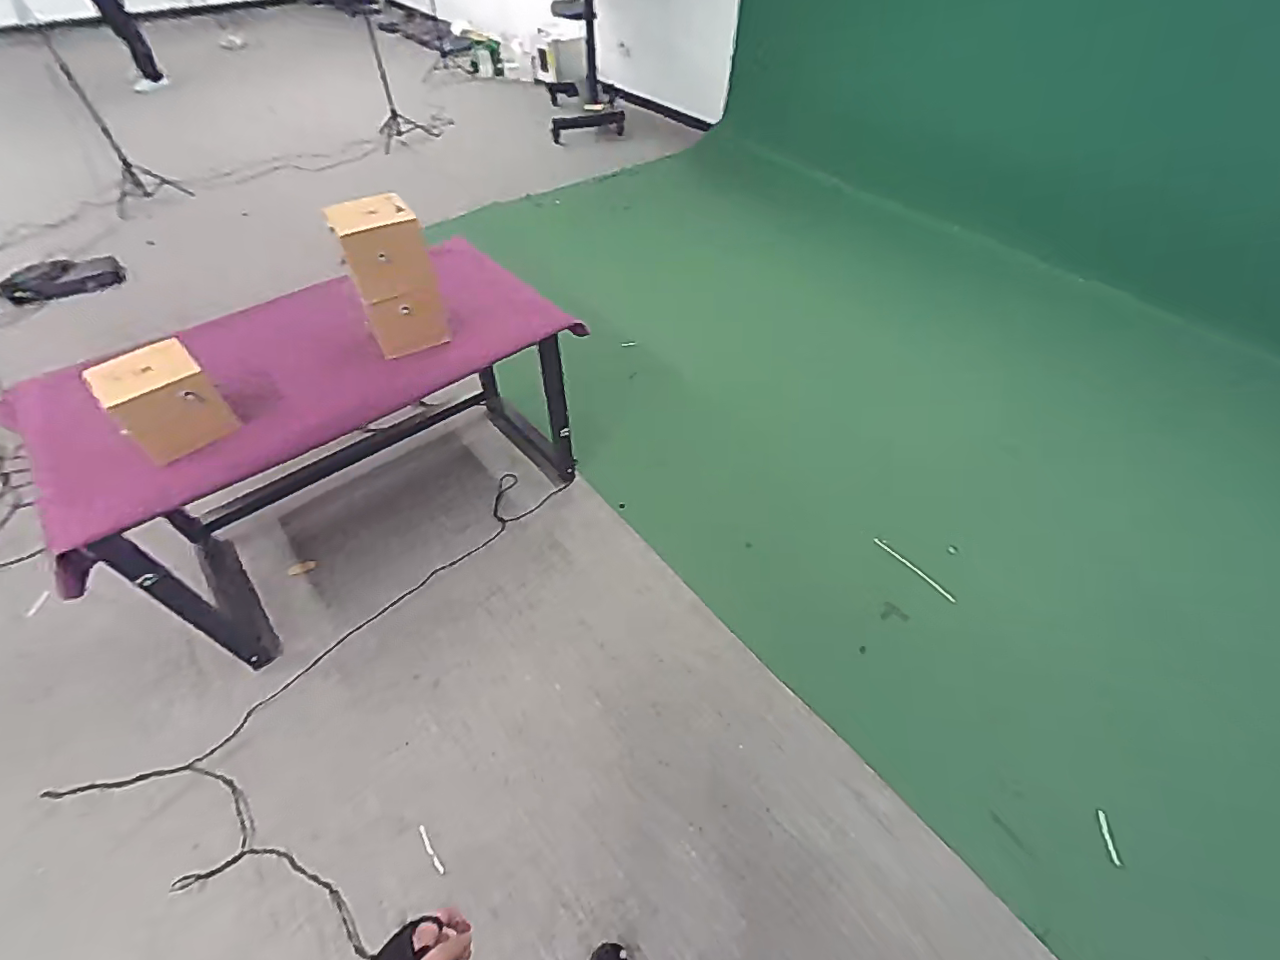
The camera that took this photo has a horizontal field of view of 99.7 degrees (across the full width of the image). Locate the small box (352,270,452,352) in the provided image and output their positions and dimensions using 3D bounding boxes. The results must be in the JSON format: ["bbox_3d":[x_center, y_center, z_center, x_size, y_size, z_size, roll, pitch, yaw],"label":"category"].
[{"bbox_3d":[-0.614,-0.459,1.407,0.179,0.176,0.168,-23,55,-20],"label":"small box"}]

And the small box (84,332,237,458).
[{"bbox_3d":[-1.017,-0.182,1.166,0.168,0.176,0.179,37,59,26],"label":"small box"}]

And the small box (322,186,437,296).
[{"bbox_3d":[-0.611,-0.562,1.281,0.179,0.176,0.168,-27,57,-20],"label":"small box"}]
